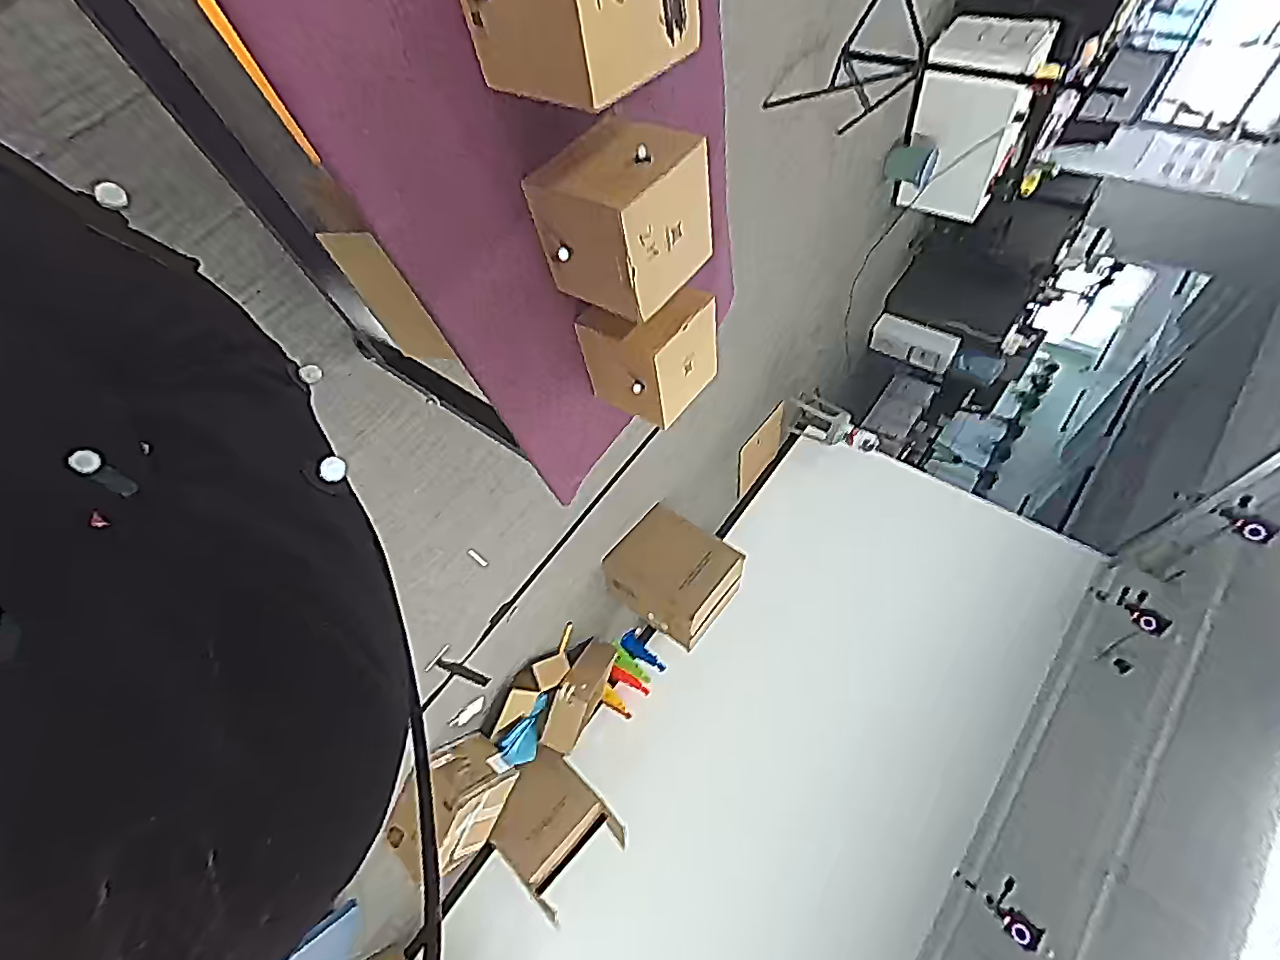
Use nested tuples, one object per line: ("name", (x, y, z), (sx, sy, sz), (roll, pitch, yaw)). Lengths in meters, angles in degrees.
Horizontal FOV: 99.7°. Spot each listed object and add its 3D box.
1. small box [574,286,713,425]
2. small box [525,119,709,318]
("small box", (0.011, -0.234, 0.943), (0.168, 0.176, 0.179), (-49, 152, -23))
("small box", (-0.024, -0.362, 0.740), (0.179, 0.176, 0.168), (-49, 152, -20))
